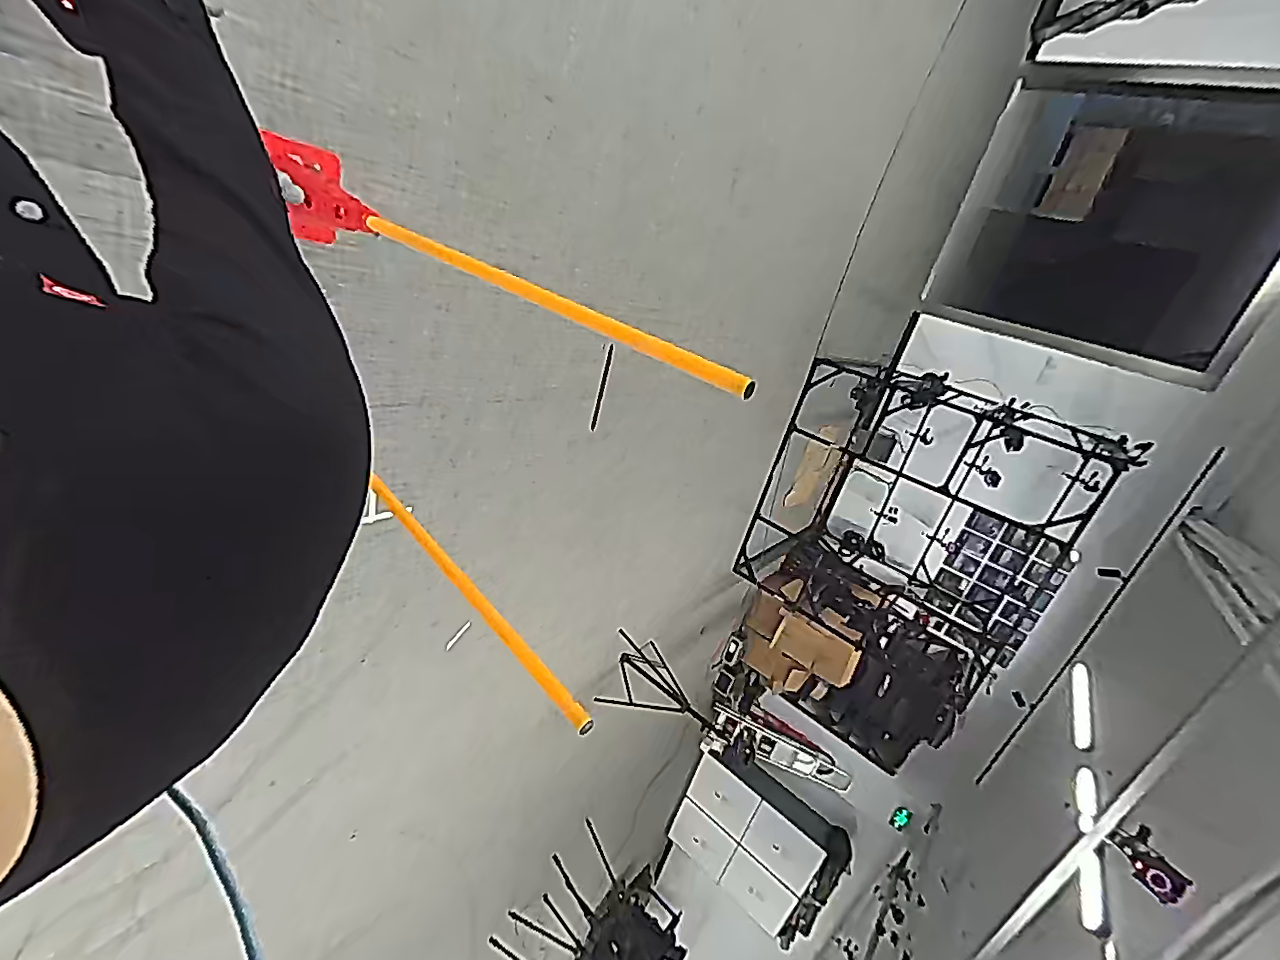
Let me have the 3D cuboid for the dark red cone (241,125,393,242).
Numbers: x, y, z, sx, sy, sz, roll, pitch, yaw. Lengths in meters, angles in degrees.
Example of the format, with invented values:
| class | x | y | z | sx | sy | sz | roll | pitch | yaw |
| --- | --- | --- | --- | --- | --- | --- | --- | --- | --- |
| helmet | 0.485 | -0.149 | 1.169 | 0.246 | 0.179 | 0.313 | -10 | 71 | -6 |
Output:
| class | x | y | z | sx | sy | sz | roll | pitch | yaw |
| --- | --- | --- | --- | --- | --- | --- | --- | --- | --- |
| dark red cone | -0.635 | -0.576 | 1.113 | 0.201 | 0.394 | 0.202 | -16 | 129 | -54 |
